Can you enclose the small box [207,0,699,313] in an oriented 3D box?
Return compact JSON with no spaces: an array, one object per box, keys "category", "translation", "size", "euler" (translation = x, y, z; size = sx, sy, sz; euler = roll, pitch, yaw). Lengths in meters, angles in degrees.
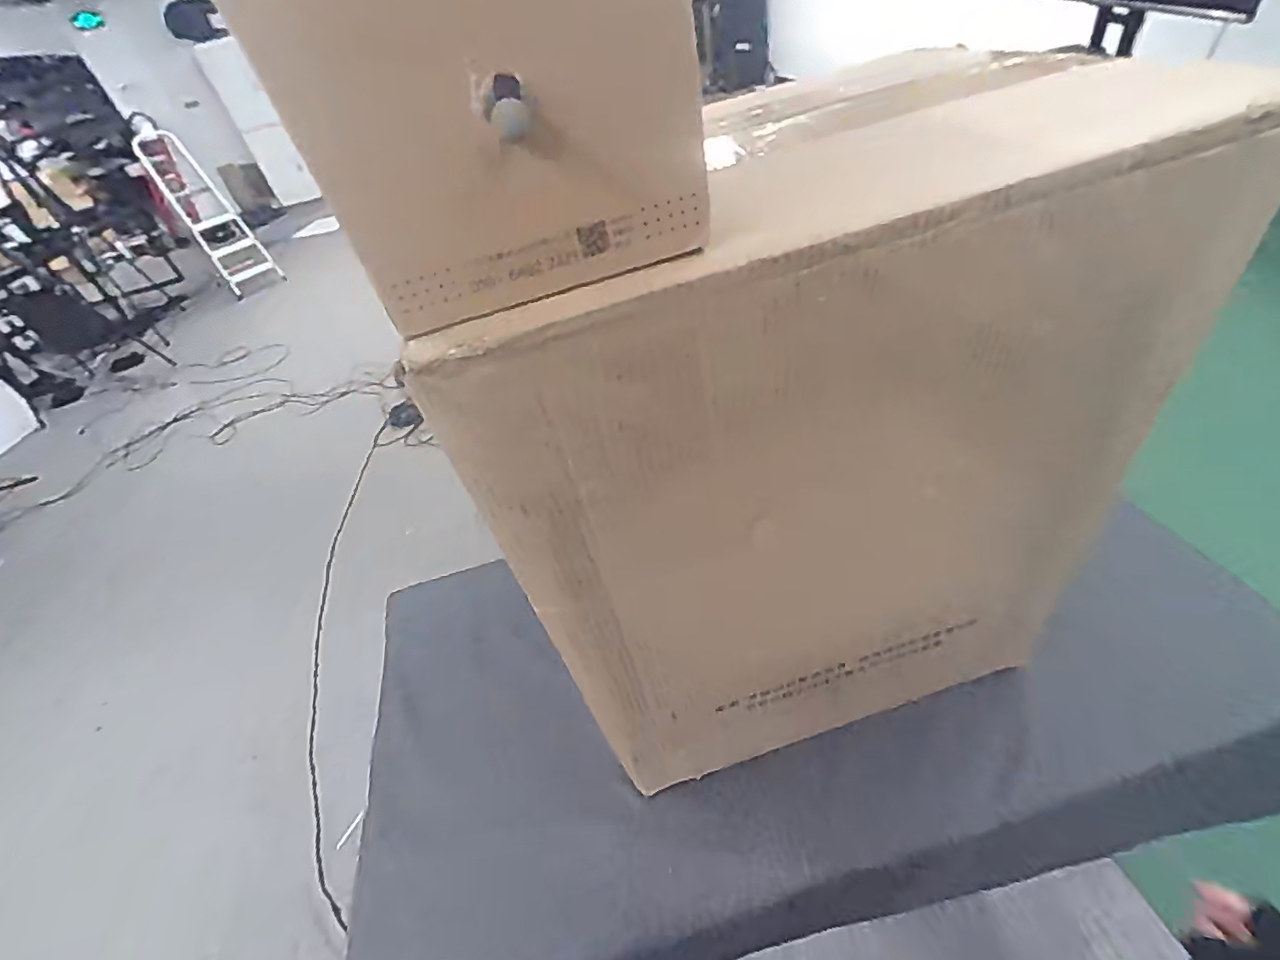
[{"category":"small box","translation":[-0.076,-0.205,0.278],"size":[0.168,0.176,0.179],"euler":[-17,45,-3]}]
